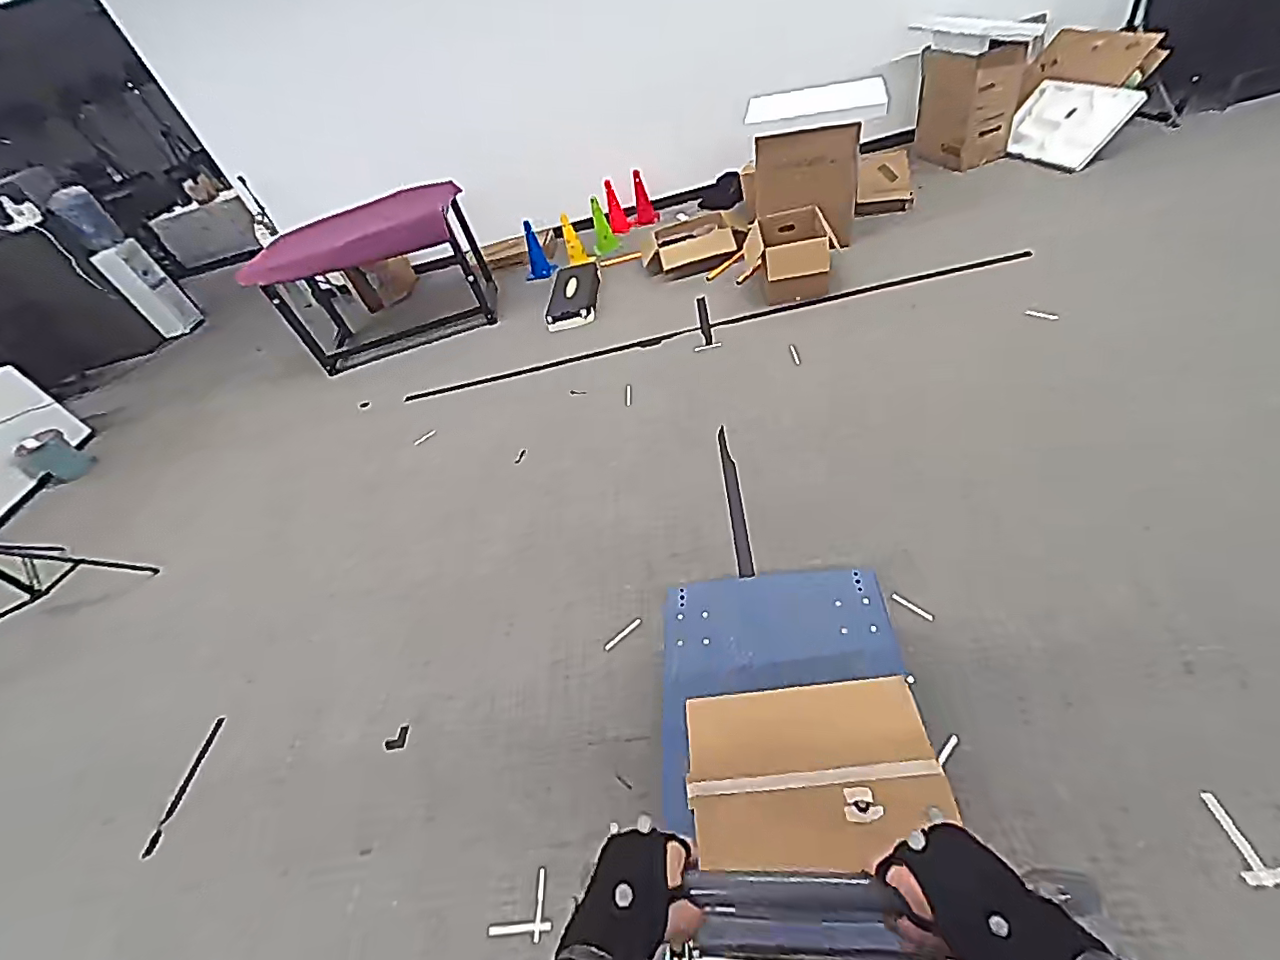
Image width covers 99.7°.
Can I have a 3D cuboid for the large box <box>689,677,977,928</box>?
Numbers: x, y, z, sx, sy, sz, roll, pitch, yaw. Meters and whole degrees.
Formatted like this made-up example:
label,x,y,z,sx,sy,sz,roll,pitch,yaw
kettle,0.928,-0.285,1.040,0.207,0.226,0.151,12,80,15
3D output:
label,x,y,z,sx,sy,sz,roll,pitch,yaw
large box,0.322,0.607,1.011,0.408,0.320,0.320,-10,44,8
